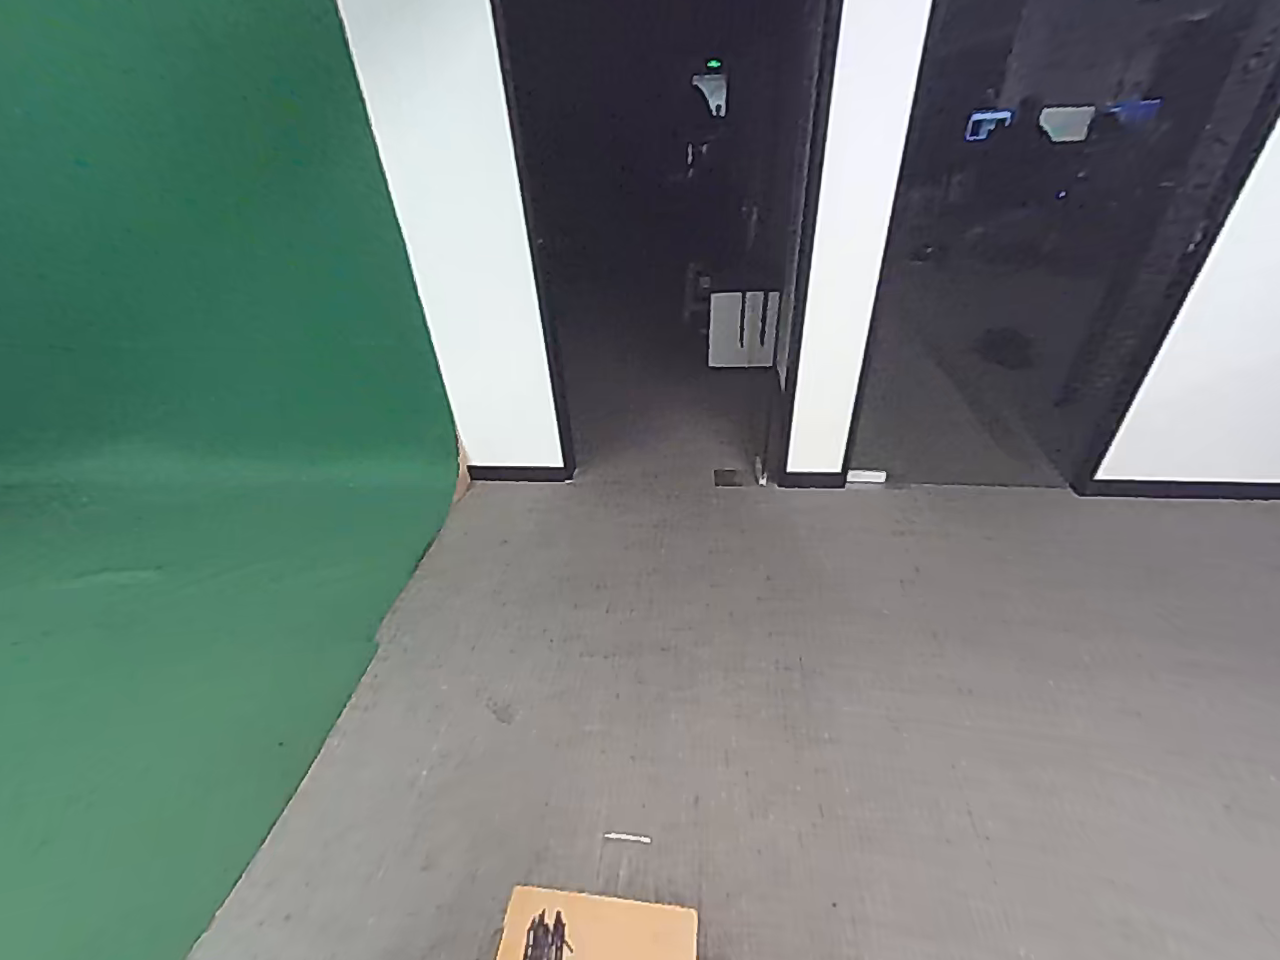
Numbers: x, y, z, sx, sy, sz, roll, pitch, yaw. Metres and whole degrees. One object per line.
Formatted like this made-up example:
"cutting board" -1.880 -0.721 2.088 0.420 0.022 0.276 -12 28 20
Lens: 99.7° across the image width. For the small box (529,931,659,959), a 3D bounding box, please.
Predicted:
"small box" -0.051 0.630 0.572 0.168 0.176 0.179 5 34 9
